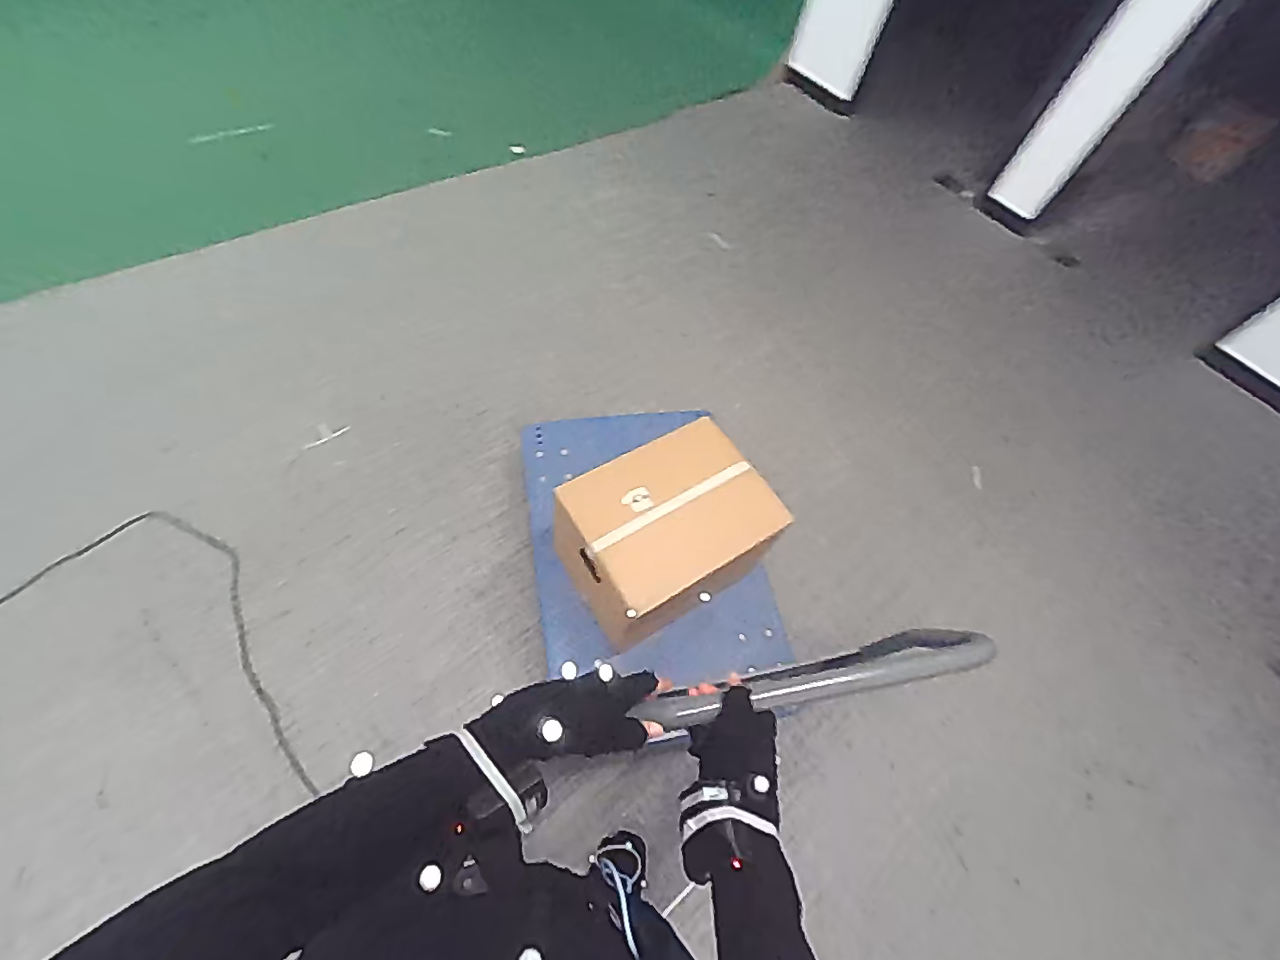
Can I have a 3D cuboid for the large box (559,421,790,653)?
[{"bbox_3d":[0.060,0.136,1.253,0.408,0.320,0.320,-28,67,-22],"label":"large box"}]
